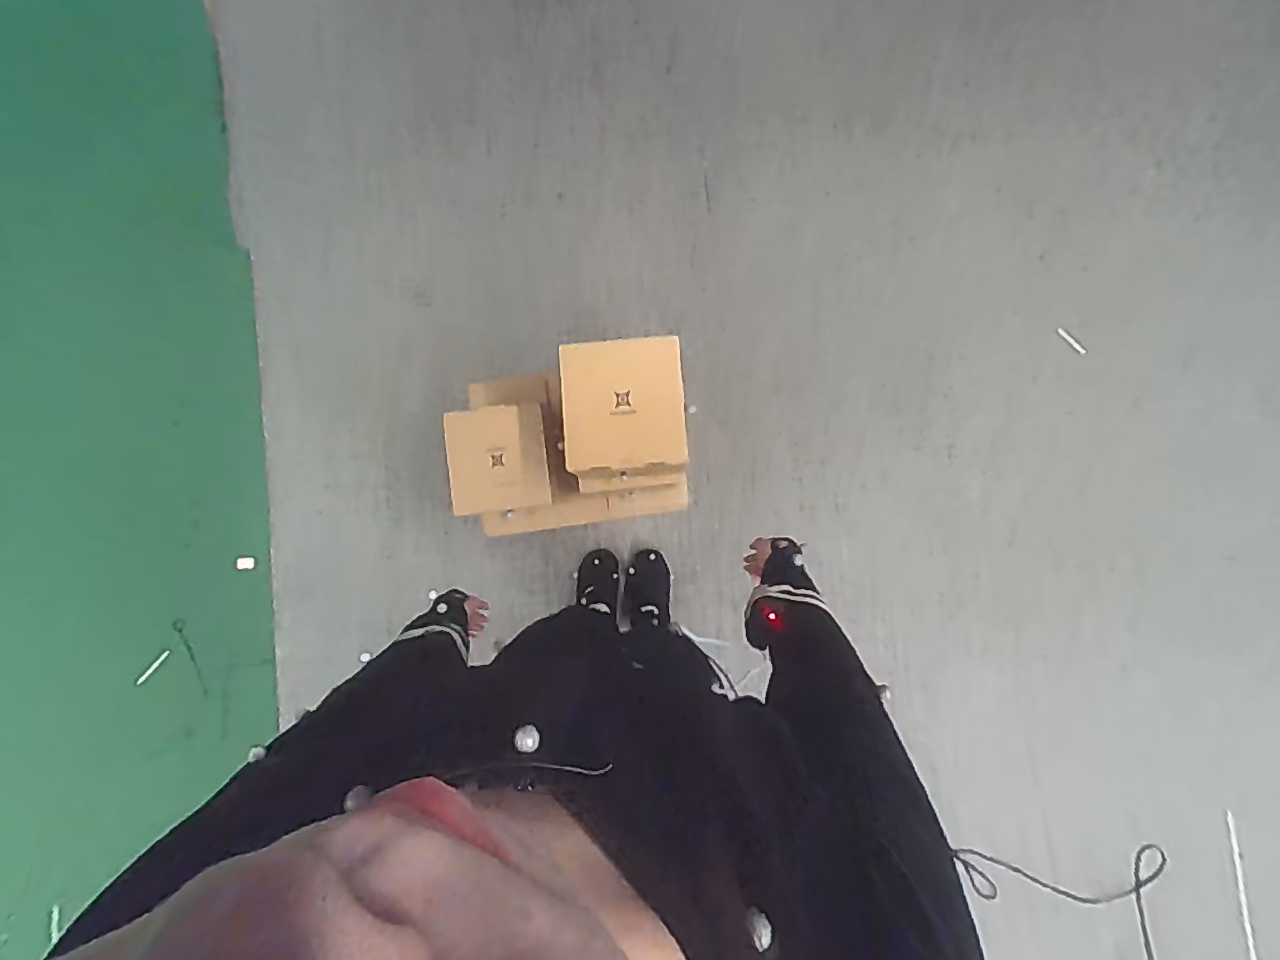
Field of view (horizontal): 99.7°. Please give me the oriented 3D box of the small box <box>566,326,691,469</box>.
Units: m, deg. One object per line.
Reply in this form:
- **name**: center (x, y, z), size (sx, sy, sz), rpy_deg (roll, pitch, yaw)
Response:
- **small box**: center (-0.015, -0.114, 0.810), size (0.168, 0.176, 0.179), rpy_deg (-4, 87, 2)
